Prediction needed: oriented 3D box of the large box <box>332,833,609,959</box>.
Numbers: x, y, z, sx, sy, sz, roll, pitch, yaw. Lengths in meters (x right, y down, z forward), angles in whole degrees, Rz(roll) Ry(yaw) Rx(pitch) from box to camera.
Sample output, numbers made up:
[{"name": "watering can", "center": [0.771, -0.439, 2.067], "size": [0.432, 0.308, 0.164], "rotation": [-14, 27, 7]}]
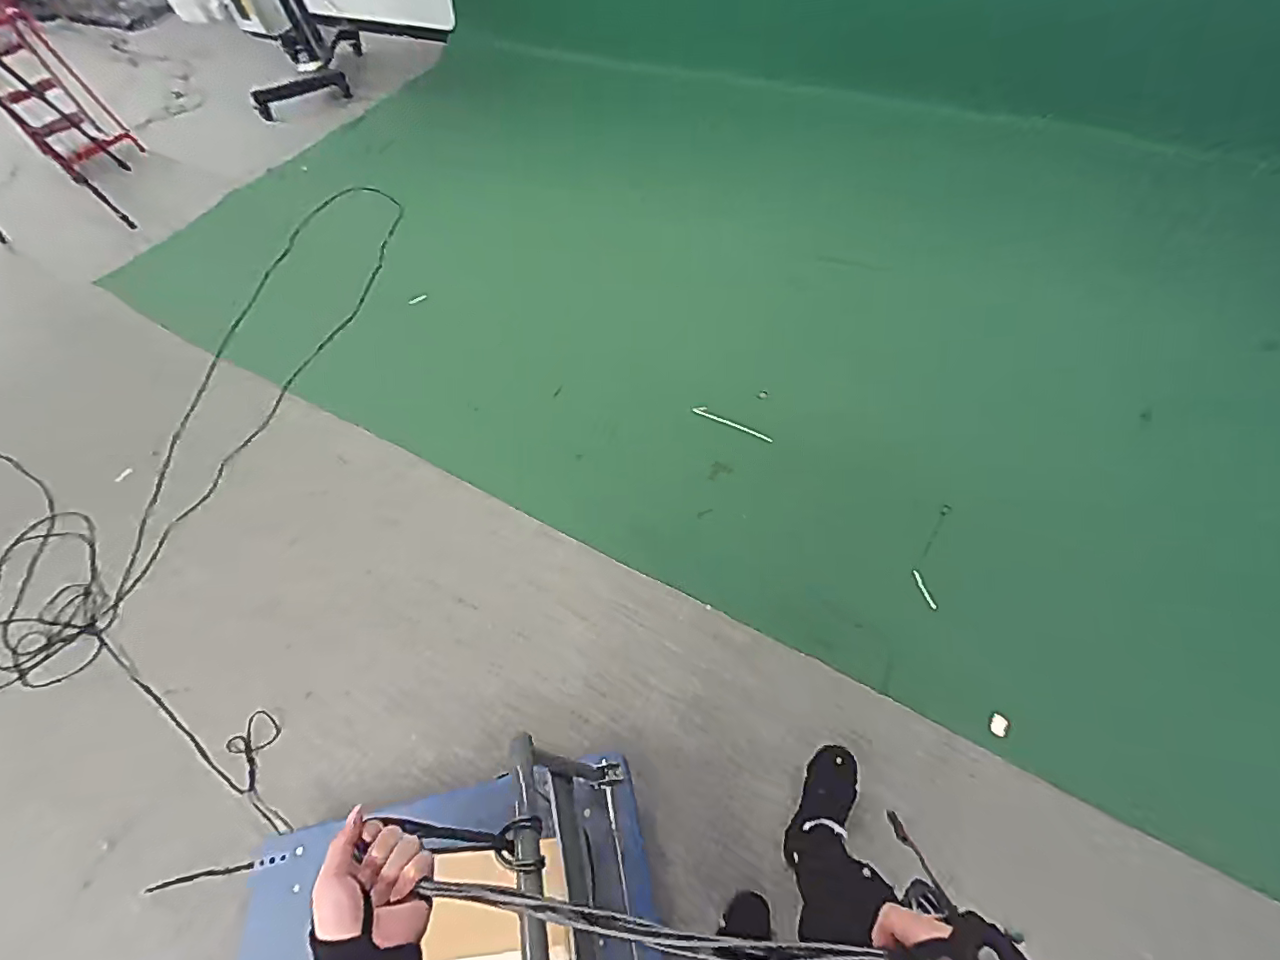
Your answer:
[{"name": "large box", "center": [-0.279, 0.854, 0.971], "size": [0.408, 0.320, 0.320], "rotation": [-10, 57, 1]}]
